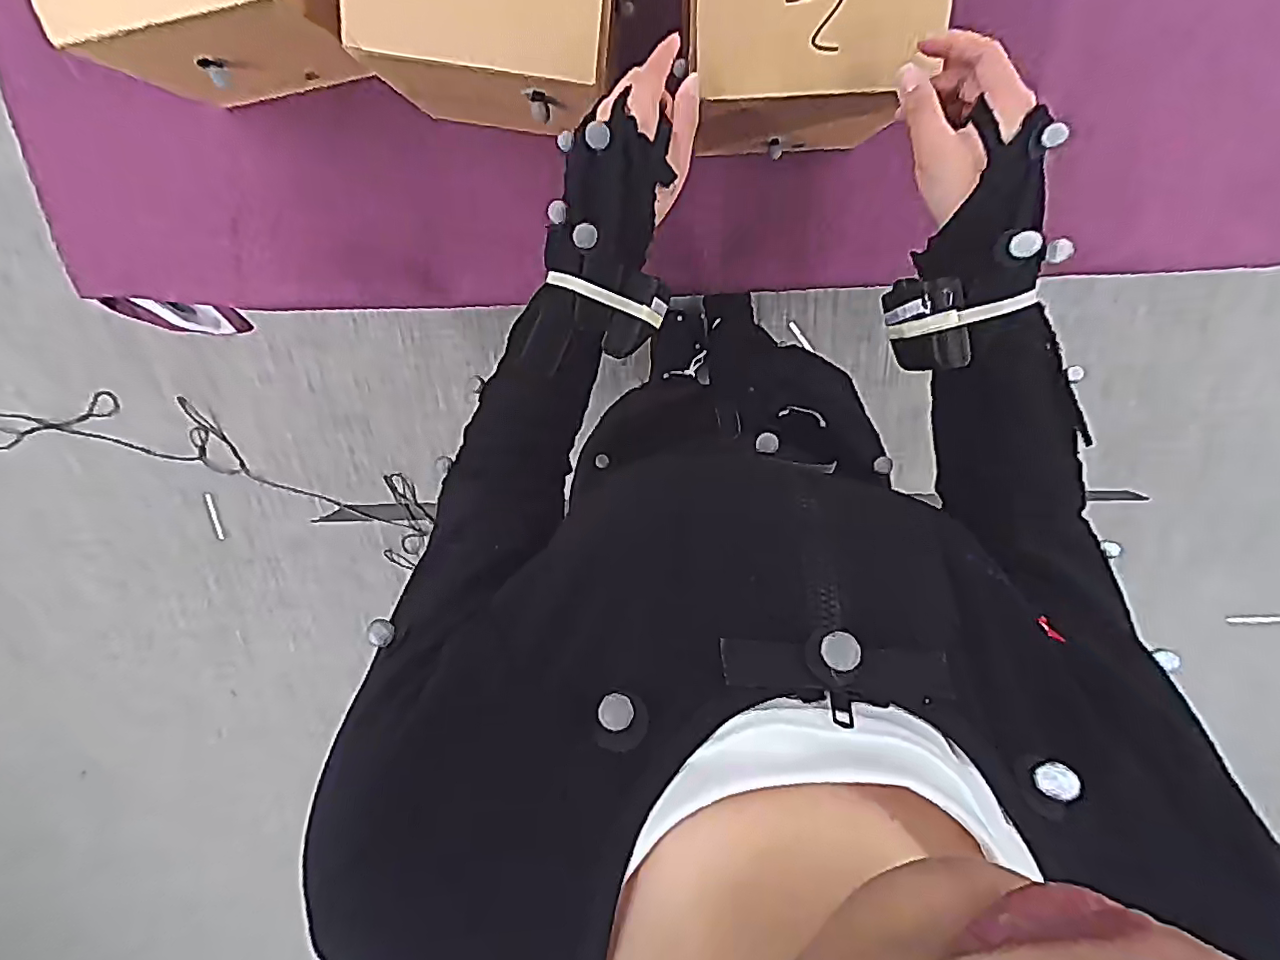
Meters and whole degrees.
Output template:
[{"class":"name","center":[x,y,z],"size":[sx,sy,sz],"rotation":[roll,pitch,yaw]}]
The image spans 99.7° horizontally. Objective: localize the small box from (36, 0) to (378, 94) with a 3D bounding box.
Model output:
[{"class":"small box","center":[-0.333,-0.421,0.408],"size":[0.168,0.176,0.179],"rotation":[-9,111,5]}]
